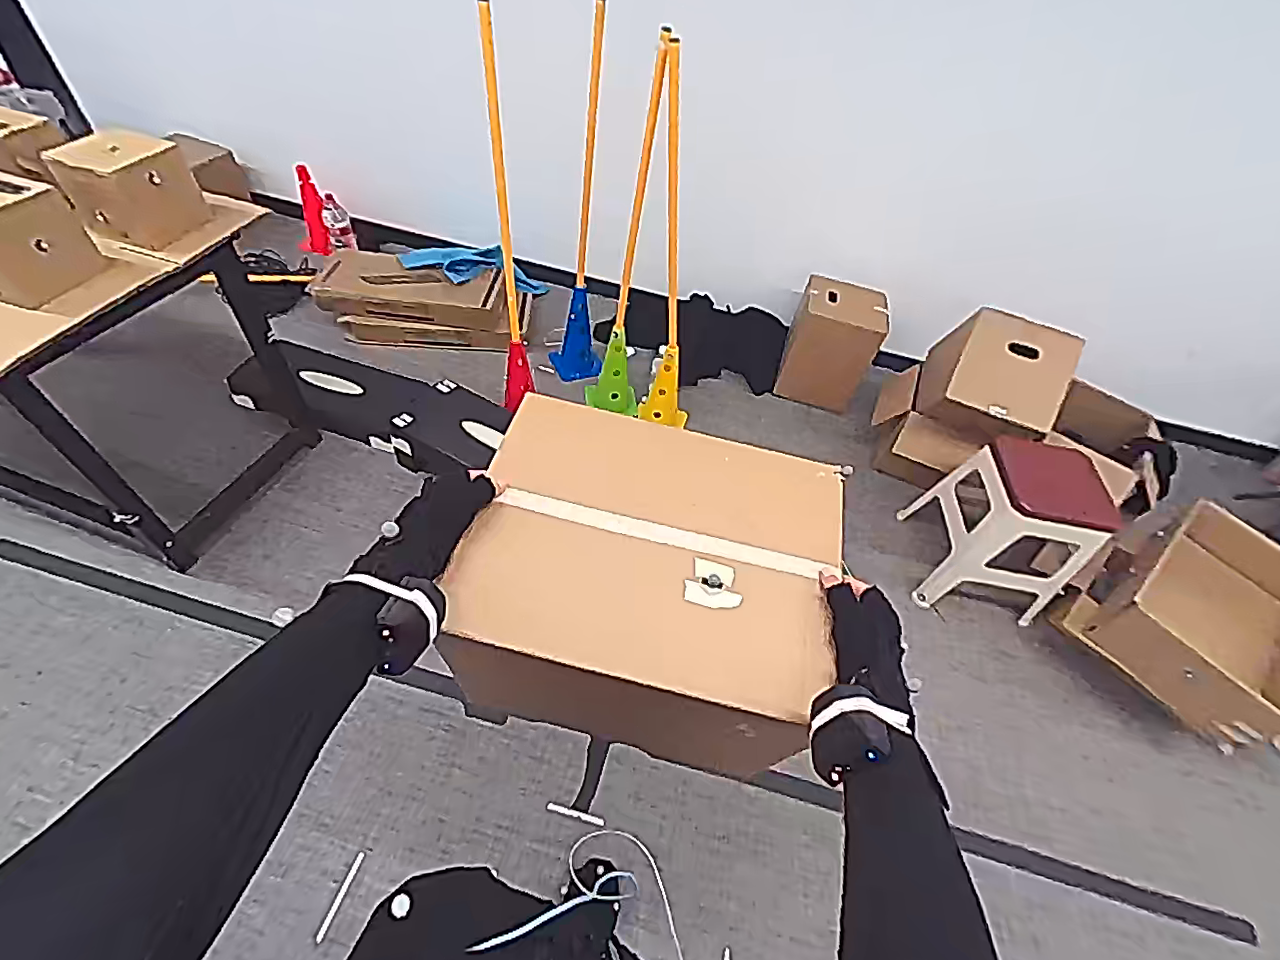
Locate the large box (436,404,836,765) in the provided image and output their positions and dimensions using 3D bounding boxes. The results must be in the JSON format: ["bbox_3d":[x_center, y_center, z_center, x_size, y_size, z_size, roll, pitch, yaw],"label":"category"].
[{"bbox_3d":[0.005,0.150,0.724,0.408,0.320,0.320,14,56,2],"label":"large box"}]
